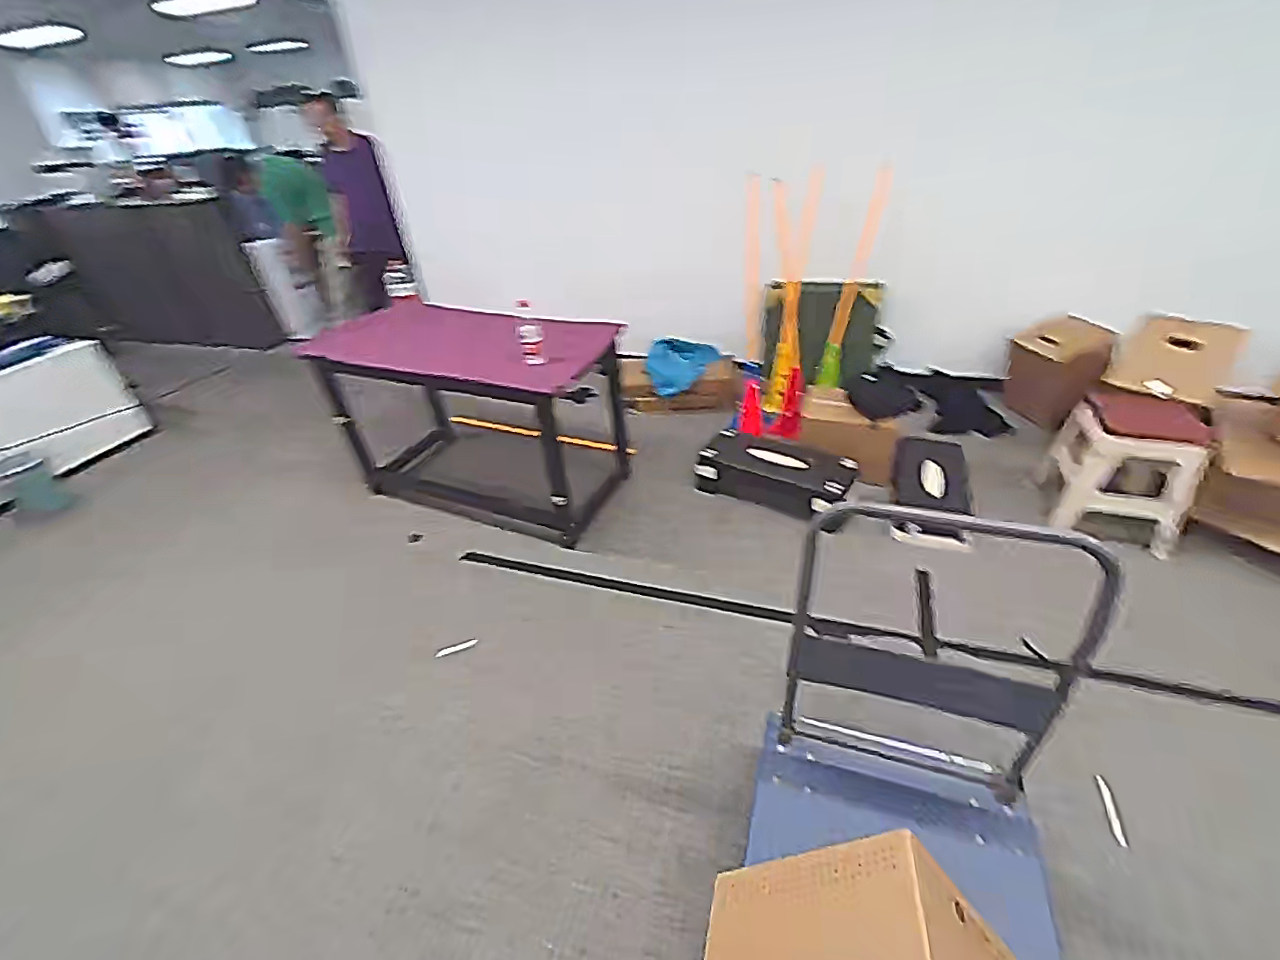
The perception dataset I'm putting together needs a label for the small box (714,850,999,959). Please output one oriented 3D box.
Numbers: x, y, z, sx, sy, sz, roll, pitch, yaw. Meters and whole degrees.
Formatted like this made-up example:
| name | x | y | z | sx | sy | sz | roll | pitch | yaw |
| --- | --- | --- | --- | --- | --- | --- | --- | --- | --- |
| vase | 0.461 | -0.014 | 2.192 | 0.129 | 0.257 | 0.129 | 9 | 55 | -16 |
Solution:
| name | x | y | z | sx | sy | sz | roll | pitch | yaw |
| --- | --- | --- | --- | --- | --- | --- | --- | --- | --- |
| small box | 0.155 | 0.388 | 0.360 | 0.179 | 0.168 | 0.176 | -36 | 9 | 27 |
